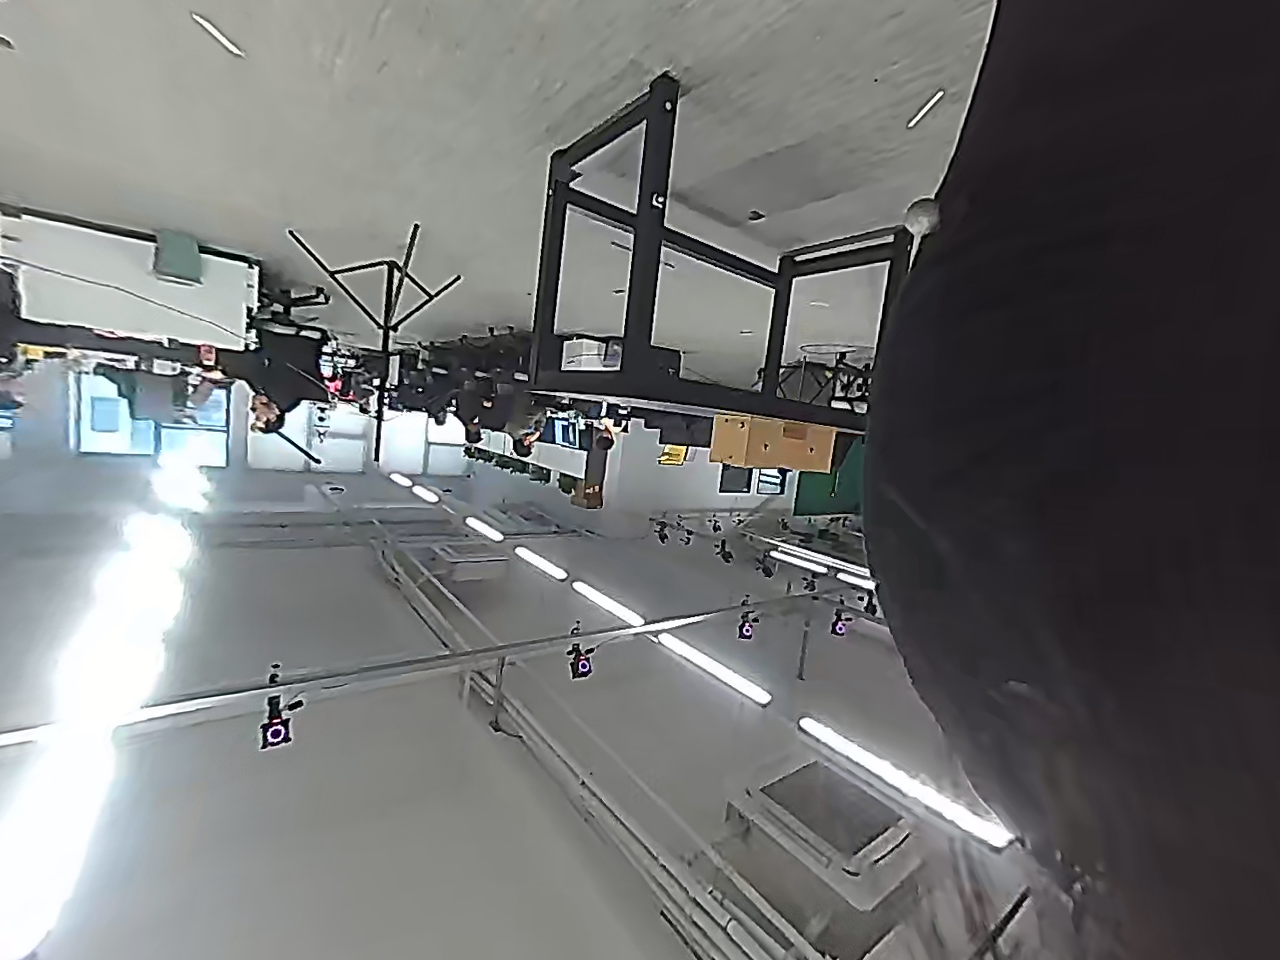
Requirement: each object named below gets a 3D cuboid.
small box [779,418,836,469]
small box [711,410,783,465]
[{"bbox_3d":[0.608,-0.140,2.023,0.179,0.176,0.168,2,-171,-35],"label":"small box"},{"bbox_3d":[0.368,-0.147,1.851,0.179,0.176,0.168,0,-171,-38],"label":"small box"}]
